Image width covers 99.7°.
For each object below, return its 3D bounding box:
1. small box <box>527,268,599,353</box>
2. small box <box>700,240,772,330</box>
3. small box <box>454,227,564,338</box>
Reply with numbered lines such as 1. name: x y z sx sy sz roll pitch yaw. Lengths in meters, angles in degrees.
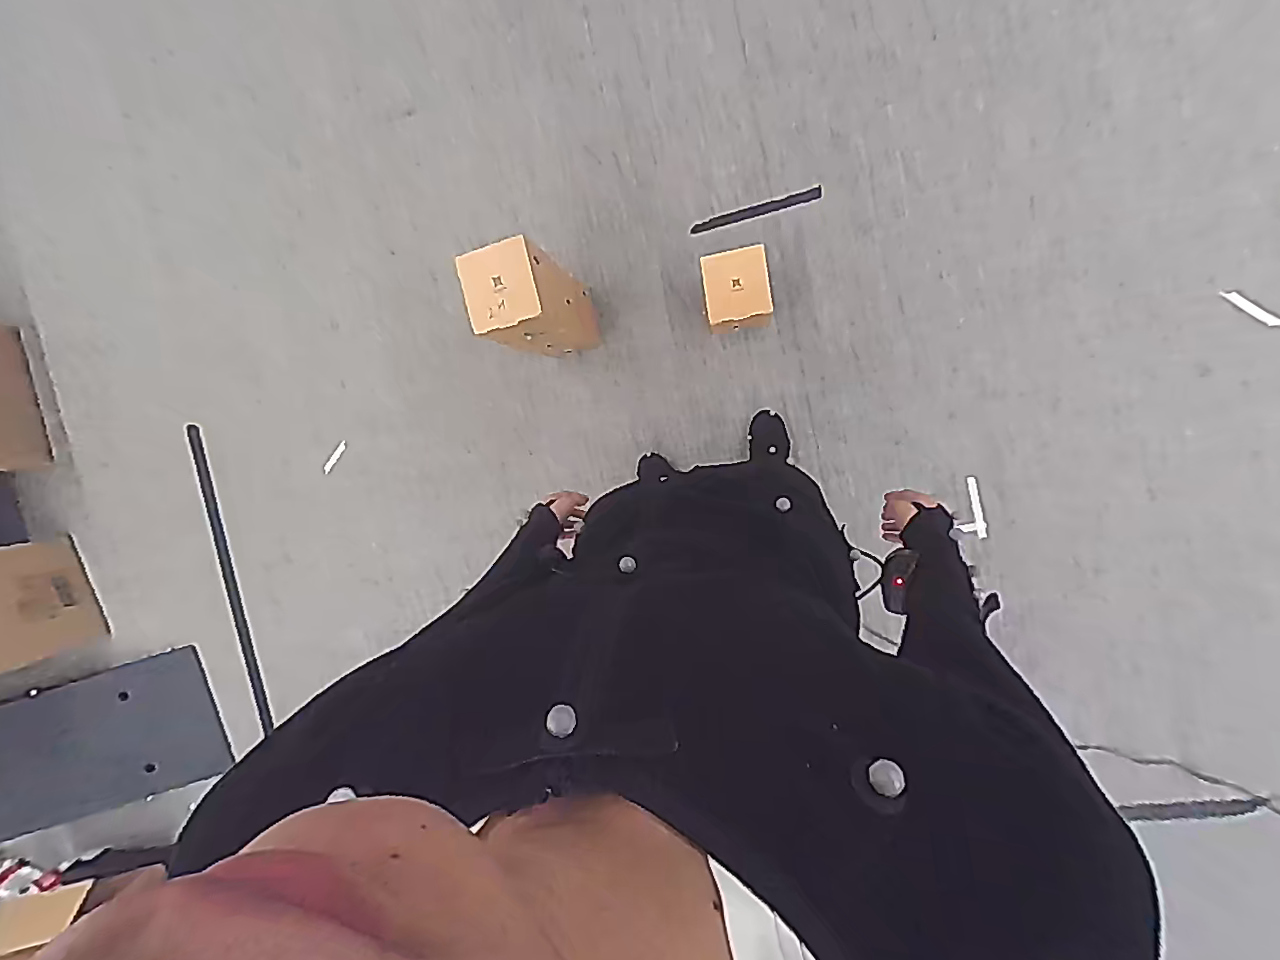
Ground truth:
1. small box: -0.229 -0.478 1.546 0.168 0.176 0.179 -13 93 12
2. small box: 0.256 -0.520 1.461 0.168 0.176 0.179 -9 95 10
3. small box: -0.288 -0.437 1.226 0.168 0.176 0.179 -13 94 12
